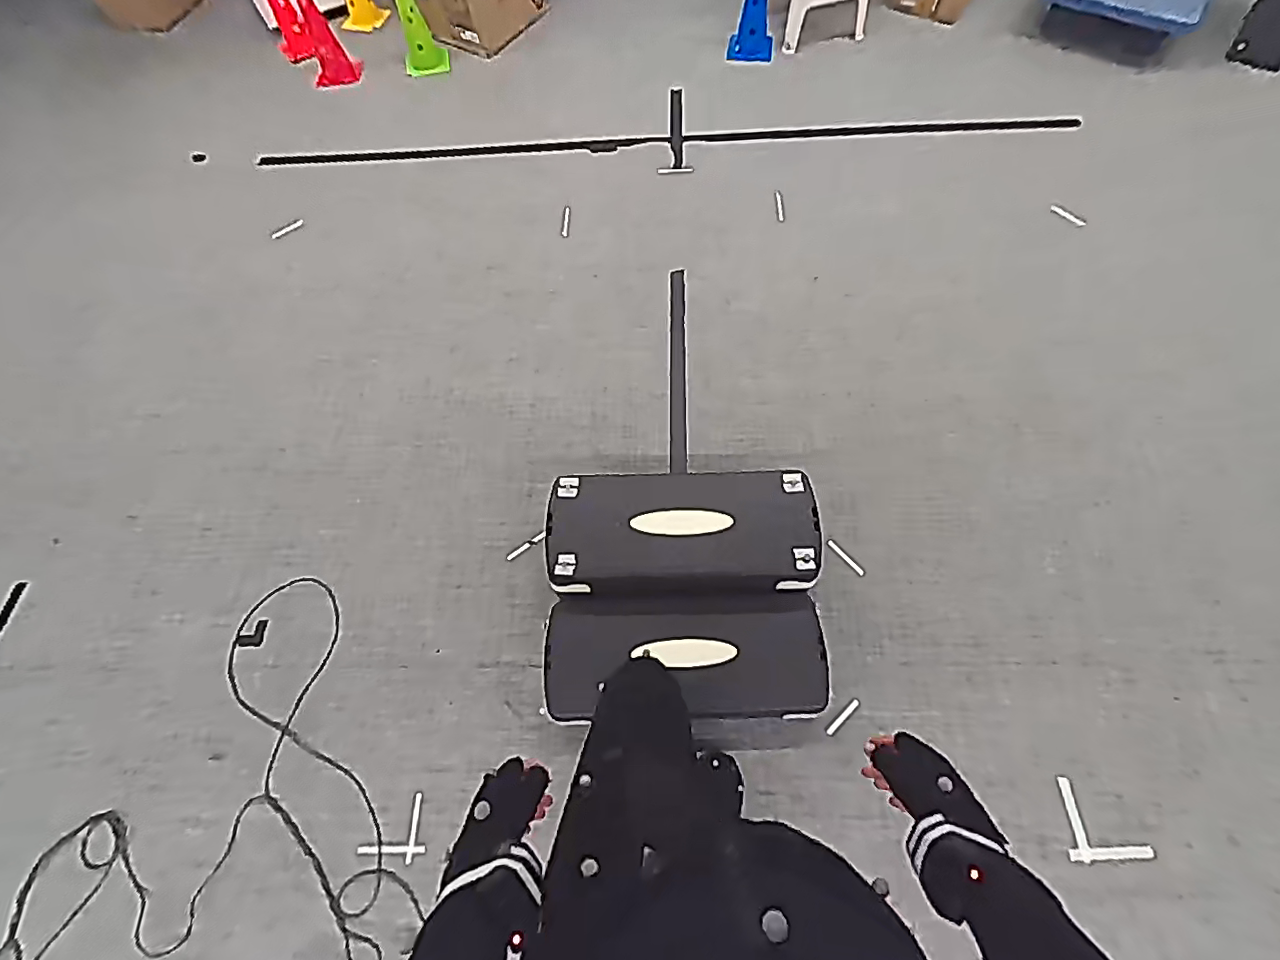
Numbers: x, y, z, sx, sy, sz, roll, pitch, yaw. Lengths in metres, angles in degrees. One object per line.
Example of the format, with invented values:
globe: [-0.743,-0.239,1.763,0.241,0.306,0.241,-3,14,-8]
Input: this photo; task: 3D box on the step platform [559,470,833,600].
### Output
step platform: [0.135,0.141,1.396,0.684,0.204,0.286,-2,65,1]
